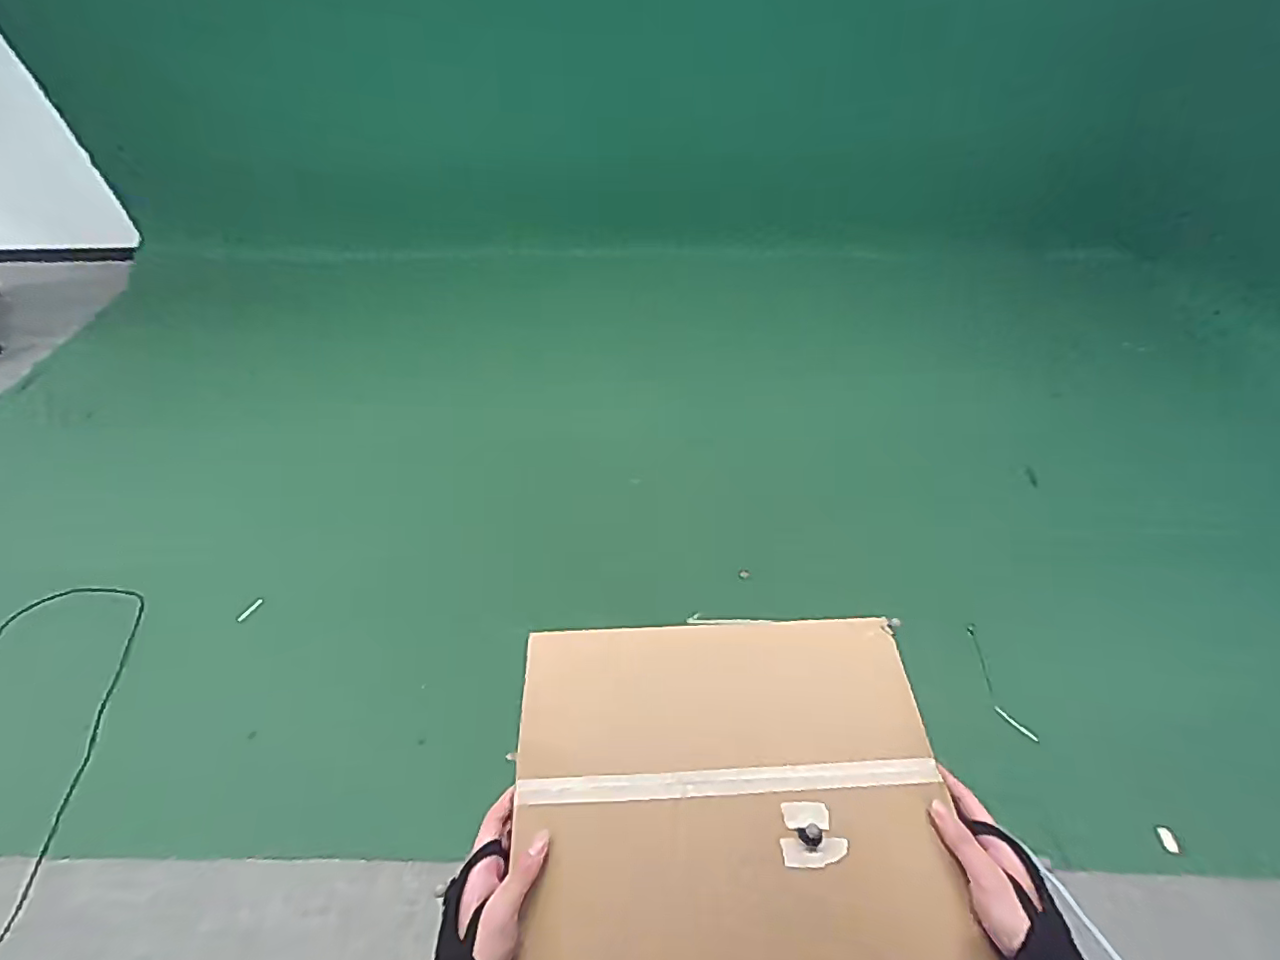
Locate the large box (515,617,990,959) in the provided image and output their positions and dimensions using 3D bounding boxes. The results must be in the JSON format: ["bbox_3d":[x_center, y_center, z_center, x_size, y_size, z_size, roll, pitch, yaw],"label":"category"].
[{"bbox_3d":[0.085,0.382,0.646,0.408,0.320,0.320,-2,52,-2],"label":"large box"}]
